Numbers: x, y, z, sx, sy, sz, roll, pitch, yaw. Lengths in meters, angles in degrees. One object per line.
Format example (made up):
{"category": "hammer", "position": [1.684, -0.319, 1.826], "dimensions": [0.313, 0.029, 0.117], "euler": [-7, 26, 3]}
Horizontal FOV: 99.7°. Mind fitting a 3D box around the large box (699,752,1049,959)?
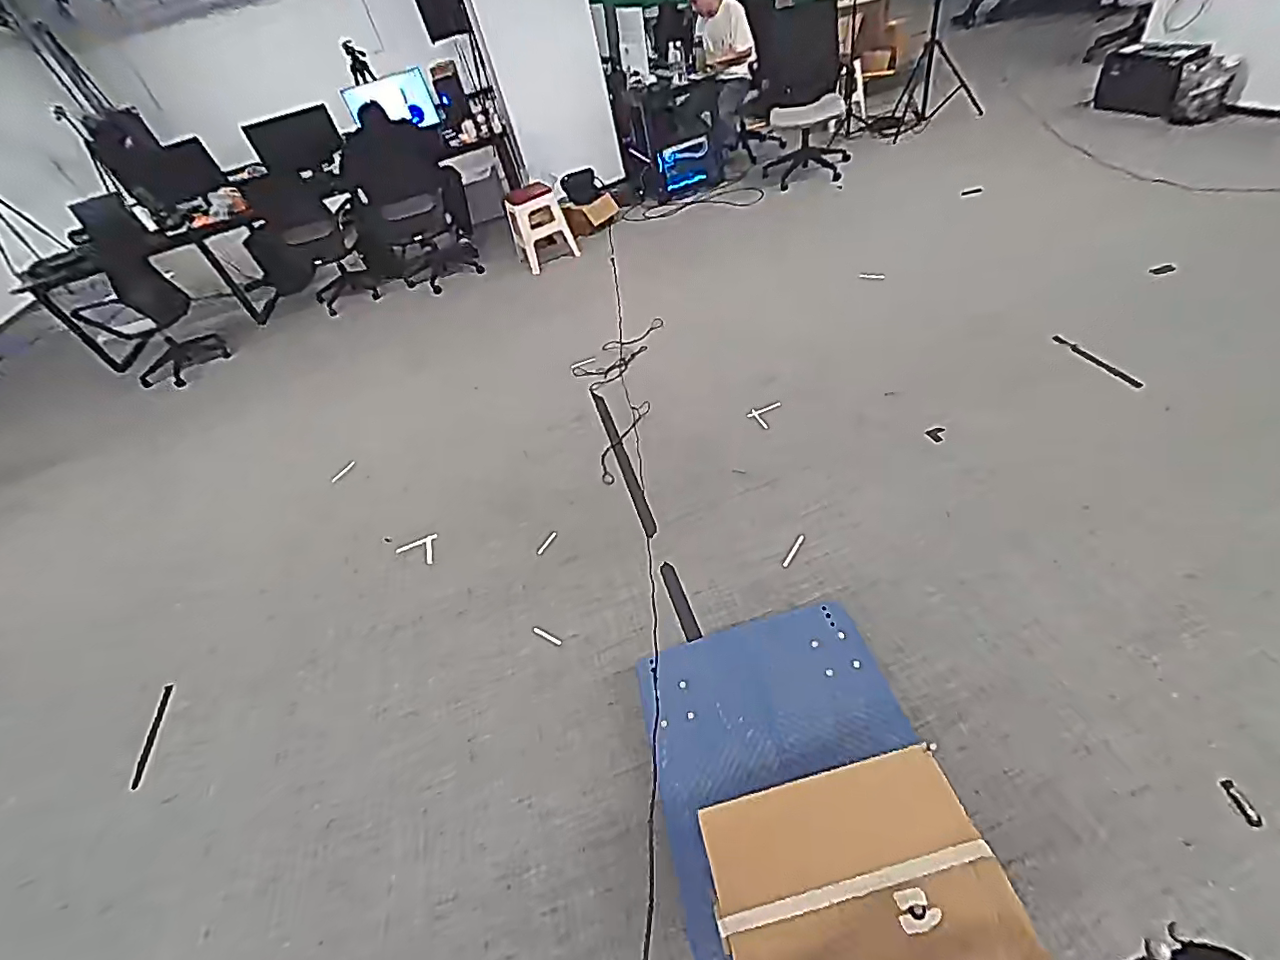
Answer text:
{"category": "large box", "position": [0.345, 0.714, 0.880], "dimensions": [0.408, 0.320, 0.320], "euler": [-17, 42, -1]}
